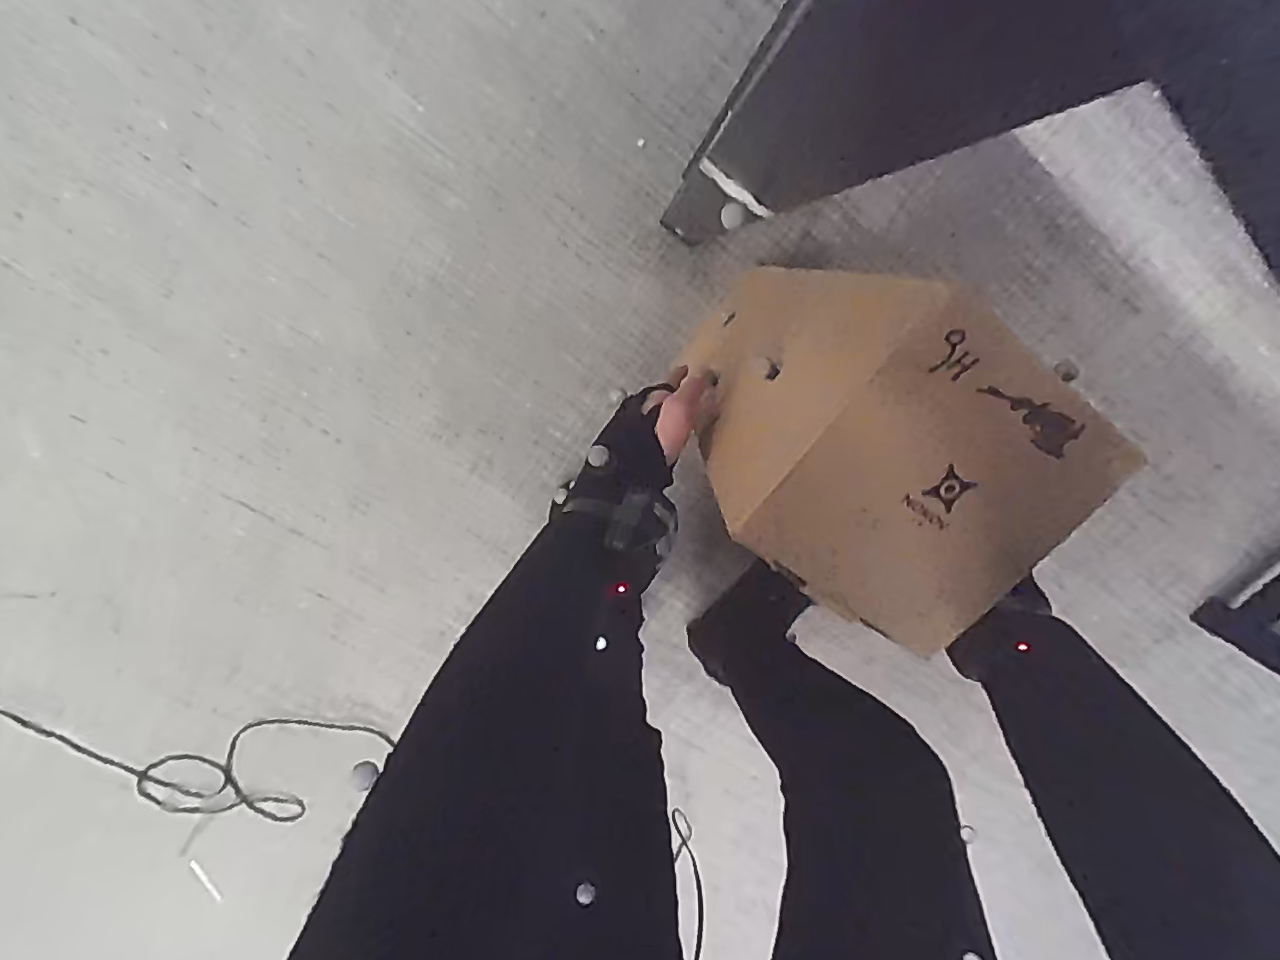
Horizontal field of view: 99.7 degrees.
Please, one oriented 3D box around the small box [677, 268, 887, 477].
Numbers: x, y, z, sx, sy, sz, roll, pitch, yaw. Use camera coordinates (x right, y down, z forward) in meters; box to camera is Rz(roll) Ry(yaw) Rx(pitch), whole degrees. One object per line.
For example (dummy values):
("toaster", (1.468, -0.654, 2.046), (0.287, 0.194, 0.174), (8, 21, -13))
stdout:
("small box", (0.158, -0.140, 0.674), (0.168, 0.176, 0.179), (37, 107, -12))
